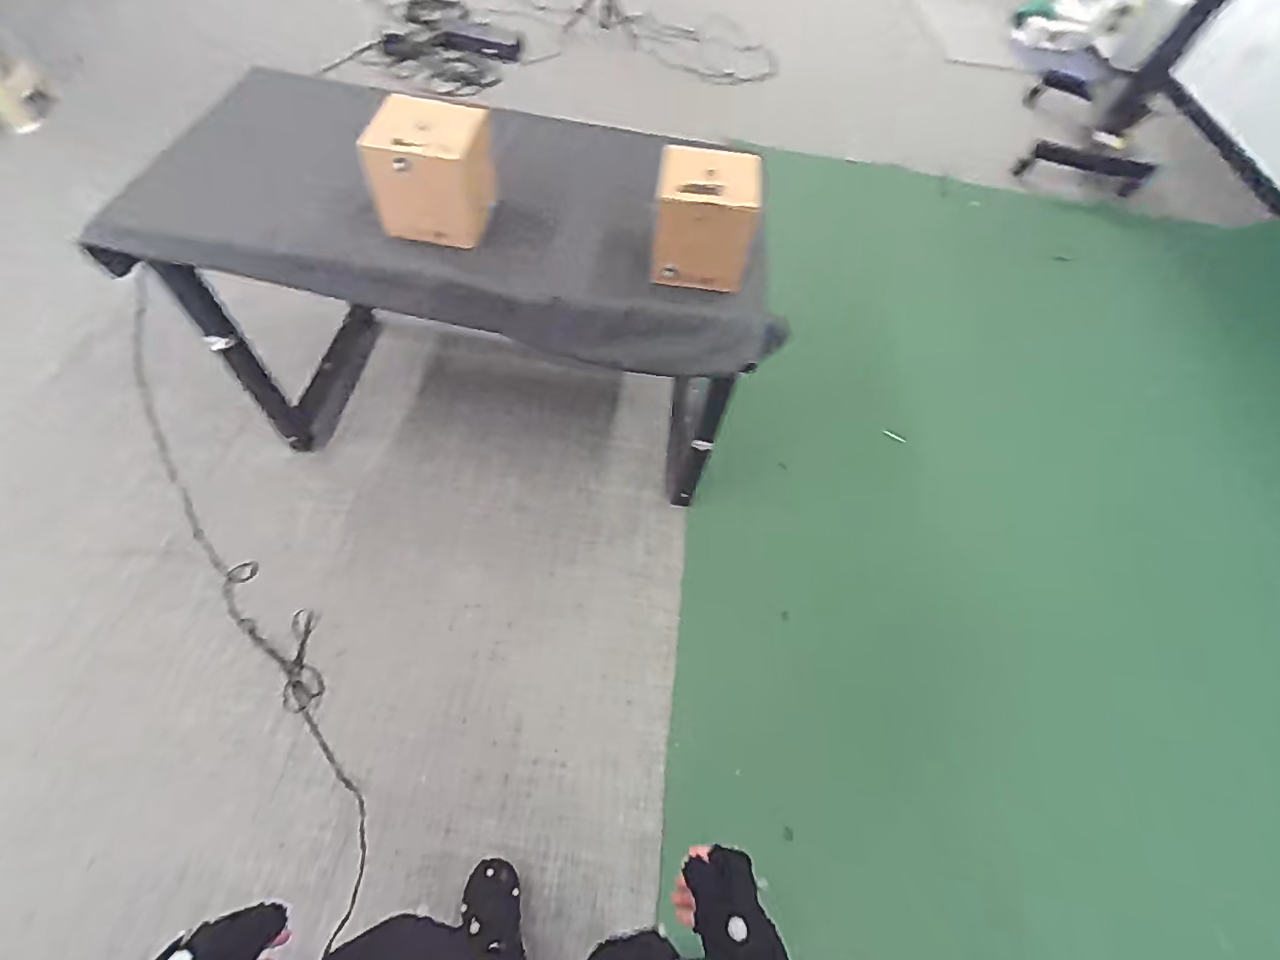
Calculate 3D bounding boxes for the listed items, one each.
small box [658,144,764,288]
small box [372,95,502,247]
[{"bbox_3d":[0.127,-0.480,0.994,0.168,0.176,0.179,8,57,1],"label":"small box"},{"bbox_3d":[-0.357,-0.563,0.992,0.168,0.176,0.179,8,58,-1],"label":"small box"}]
